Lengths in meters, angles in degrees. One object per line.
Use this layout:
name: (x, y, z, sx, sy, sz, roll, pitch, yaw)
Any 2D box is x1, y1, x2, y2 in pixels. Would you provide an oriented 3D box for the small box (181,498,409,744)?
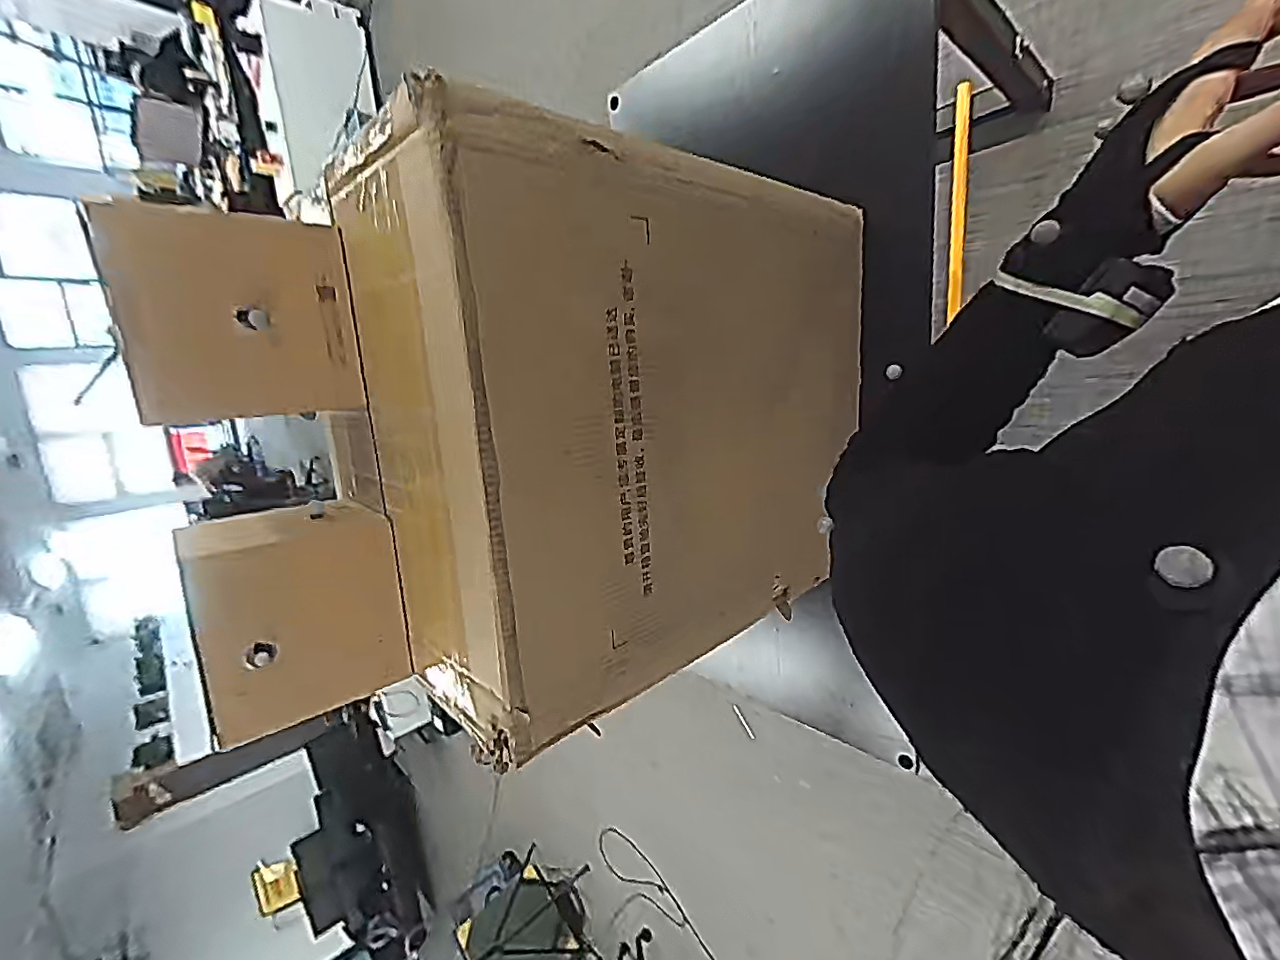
small box: (-0.355, 0.127, 0.567, 0.168, 0.176, 0.179, 9, 105, 48)

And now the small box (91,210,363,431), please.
small box: (-0.380, -0.147, 0.518, 0.179, 0.176, 0.168, 14, 111, 47)
